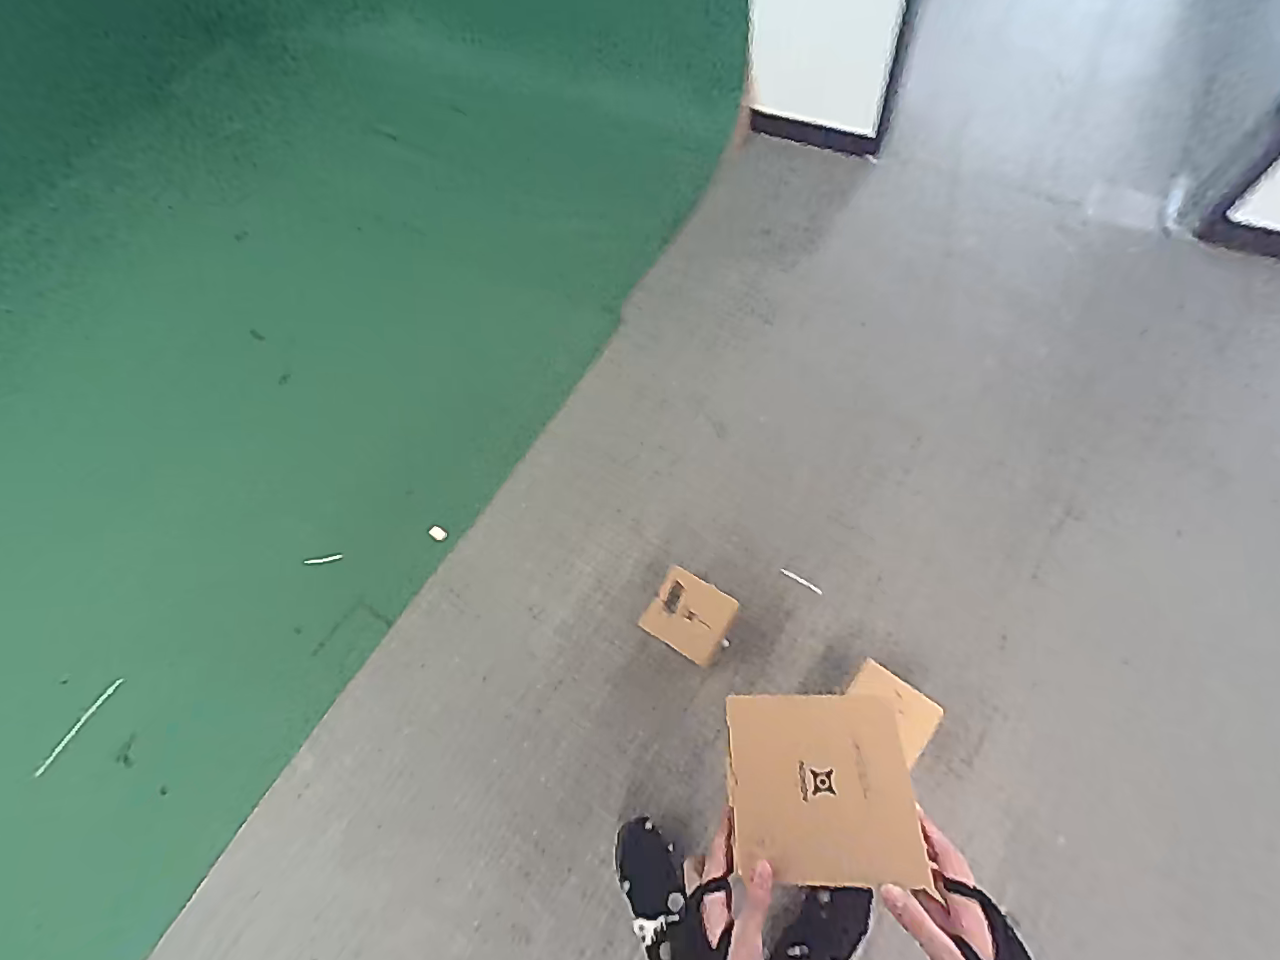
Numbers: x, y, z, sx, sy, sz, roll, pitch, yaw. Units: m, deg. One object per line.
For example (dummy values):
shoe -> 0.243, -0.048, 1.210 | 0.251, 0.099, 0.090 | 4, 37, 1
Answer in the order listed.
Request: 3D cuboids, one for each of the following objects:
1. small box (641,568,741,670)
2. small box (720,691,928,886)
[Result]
small box -> 0.128, 0.343, 1.305 | 0.179, 0.176, 0.168 | 29, 75, 20
small box -> 0.182, 0.338, 0.593 | 0.179, 0.176, 0.168 | -3, 55, 7
